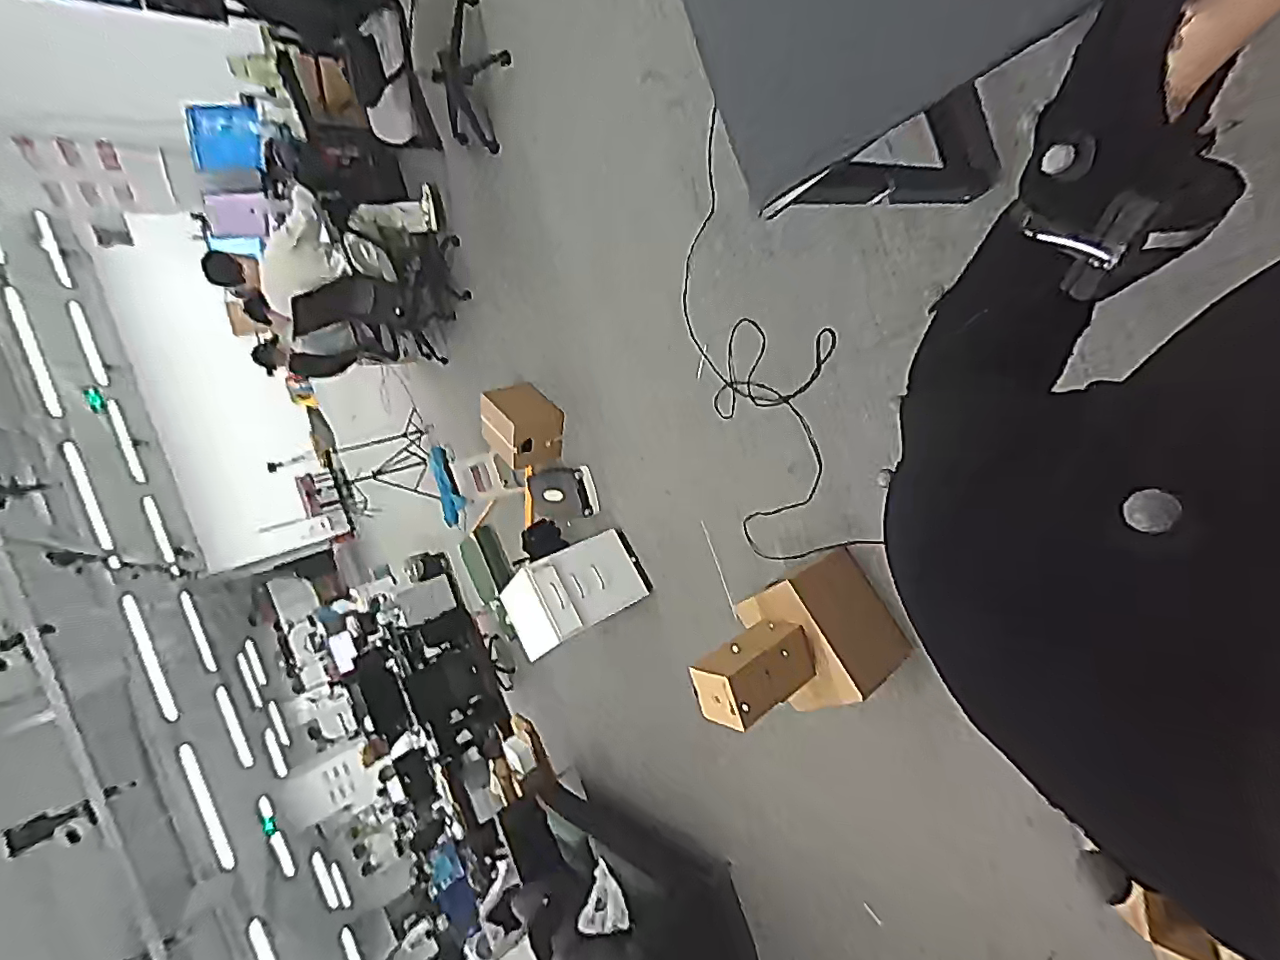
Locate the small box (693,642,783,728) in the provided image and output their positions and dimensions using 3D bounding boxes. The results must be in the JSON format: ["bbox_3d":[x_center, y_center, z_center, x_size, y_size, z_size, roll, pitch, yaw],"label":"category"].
[{"bbox_3d":[0.293,0.600,1.609,0.179,0.176,0.168,-12,97,57],"label":"small box"}]
